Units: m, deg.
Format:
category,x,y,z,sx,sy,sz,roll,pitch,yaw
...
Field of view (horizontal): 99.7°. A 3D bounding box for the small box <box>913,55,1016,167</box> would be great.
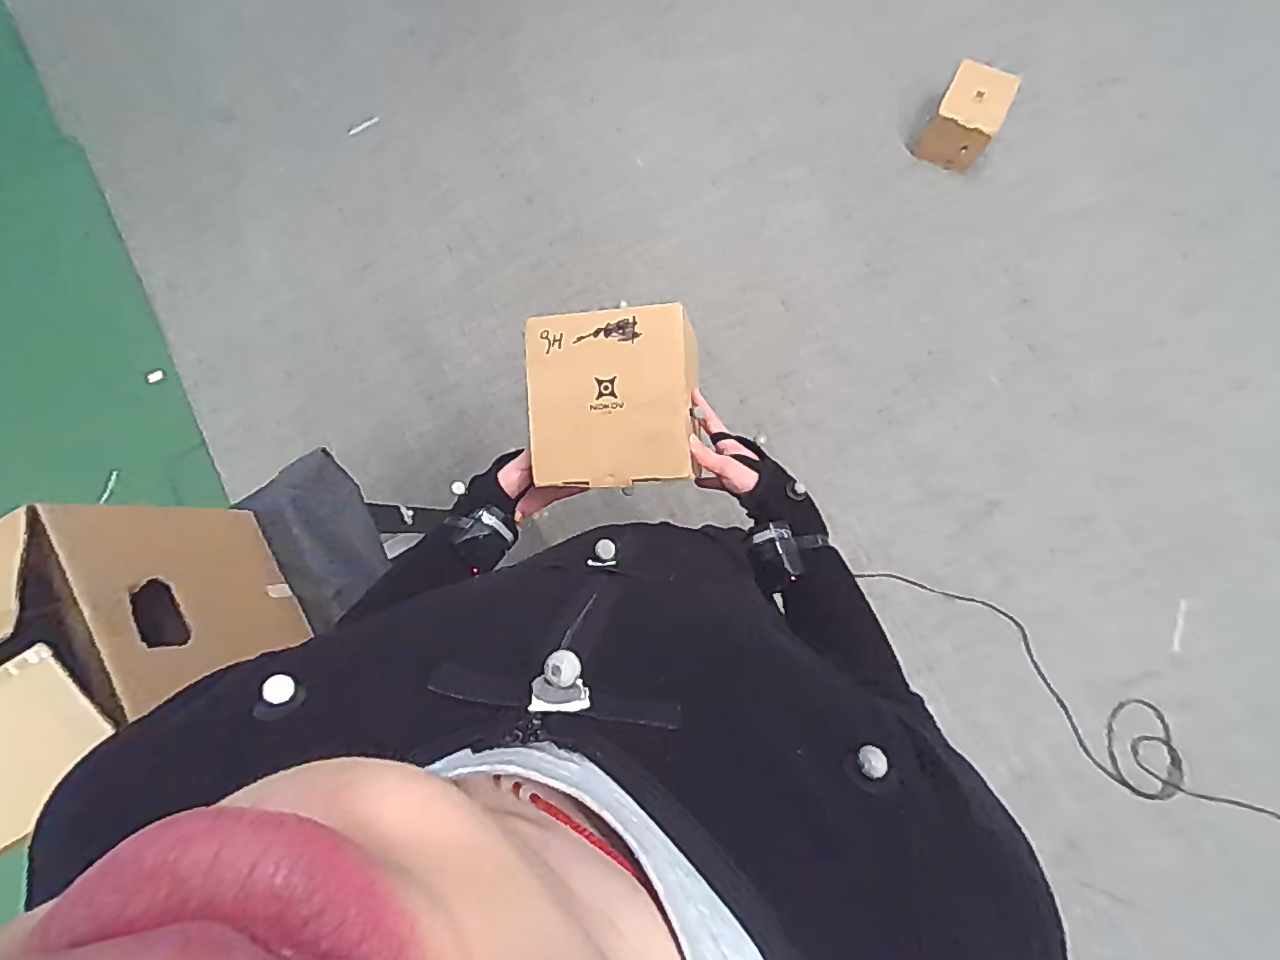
category,x,y,z,sx,sy,sz,roll,pitch,yaw
small box,0.905,-1.034,1.530,0.168,0.176,0.179,25,85,5
